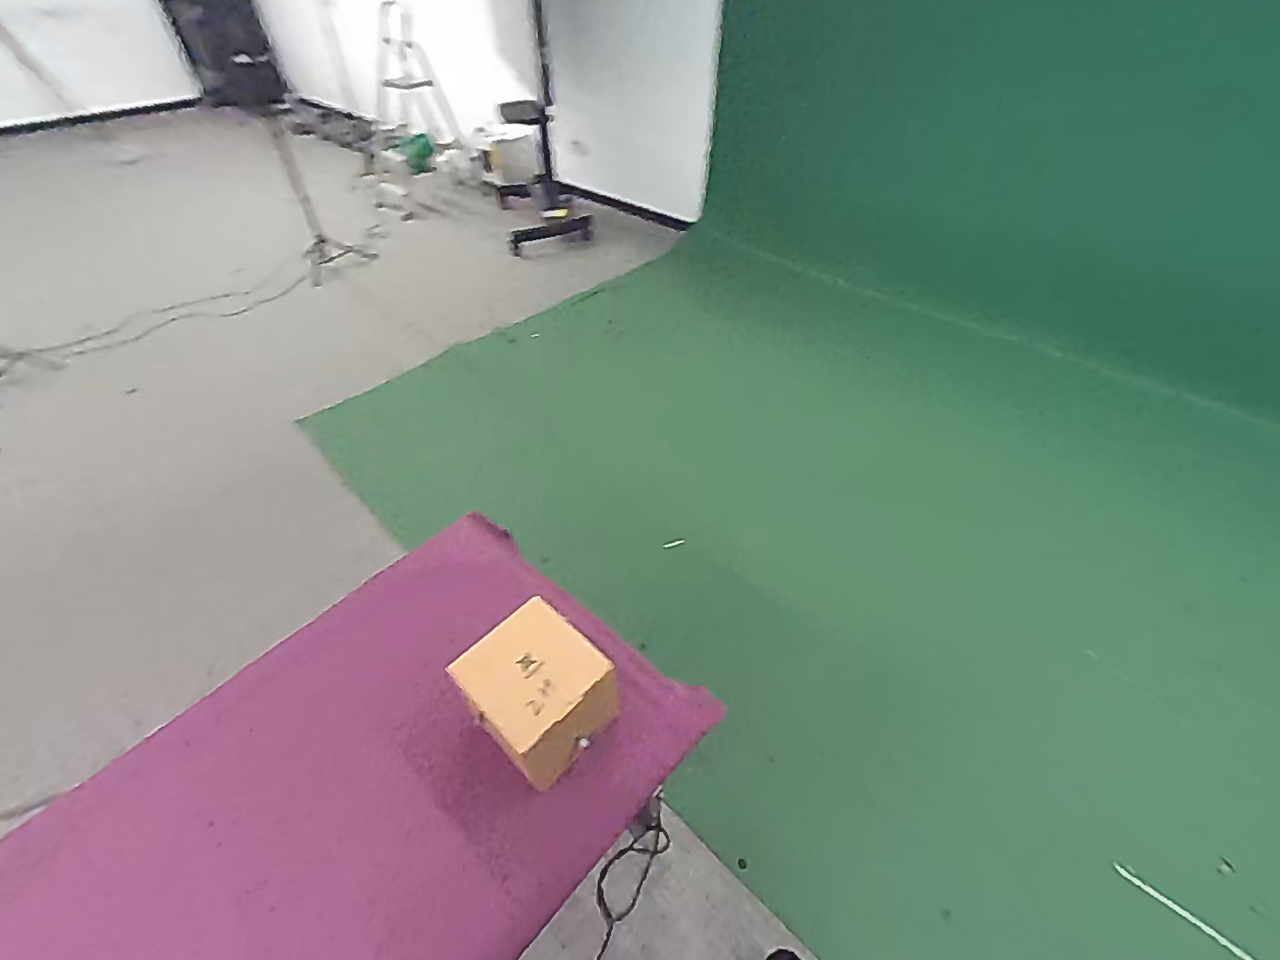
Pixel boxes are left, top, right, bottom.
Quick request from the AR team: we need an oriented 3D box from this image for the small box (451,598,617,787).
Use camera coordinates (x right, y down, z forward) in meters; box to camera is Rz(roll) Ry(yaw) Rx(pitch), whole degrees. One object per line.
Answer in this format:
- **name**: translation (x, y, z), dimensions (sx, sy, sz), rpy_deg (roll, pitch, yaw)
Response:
- **small box**: translation (-0.153, 0.323, 0.821), dimensions (0.179, 0.176, 0.168), rpy_deg (34, 55, 30)
